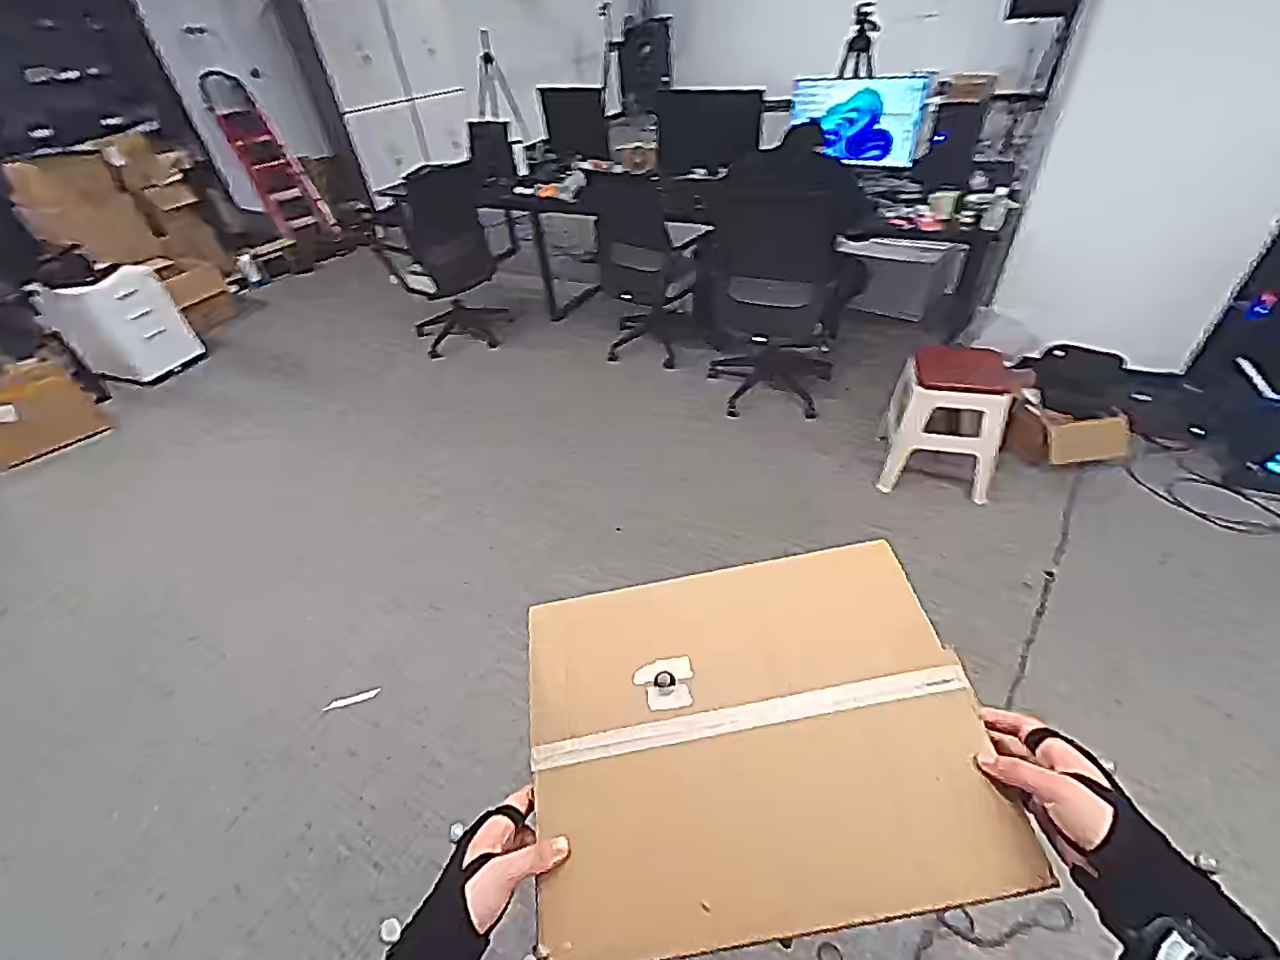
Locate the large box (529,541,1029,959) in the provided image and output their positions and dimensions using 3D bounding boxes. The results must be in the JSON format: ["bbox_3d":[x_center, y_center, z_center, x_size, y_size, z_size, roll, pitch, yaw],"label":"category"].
[{"bbox_3d":[0.116,0.316,0.636,0.408,0.320,0.320,-13,52,1],"label":"large box"}]
